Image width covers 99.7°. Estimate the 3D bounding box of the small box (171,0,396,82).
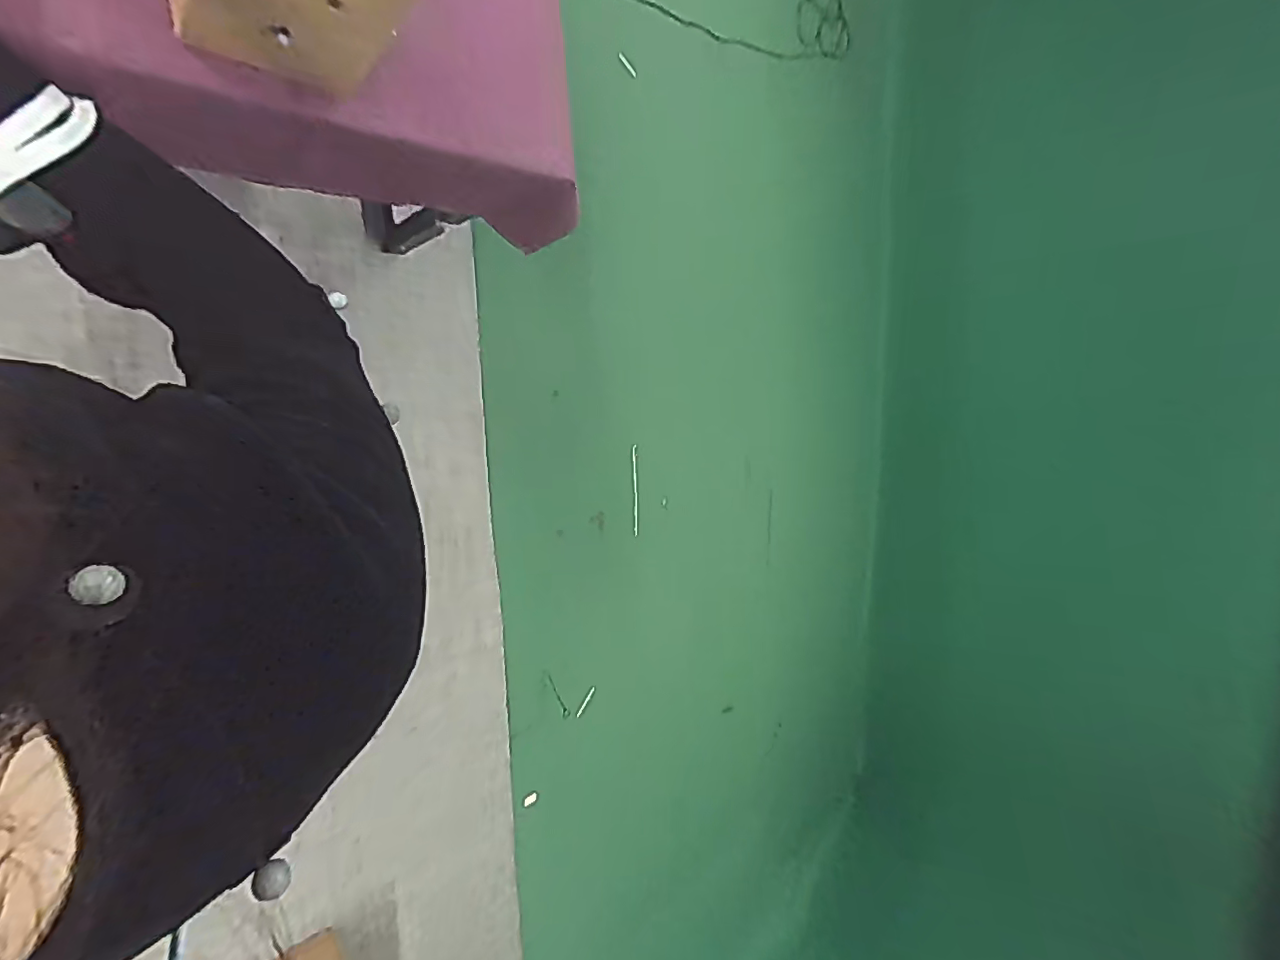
[{"bbox_3d":[-0.388,-0.569,0.579,0.179,0.176,0.168,-11,102,-43],"label":"small box"}]
